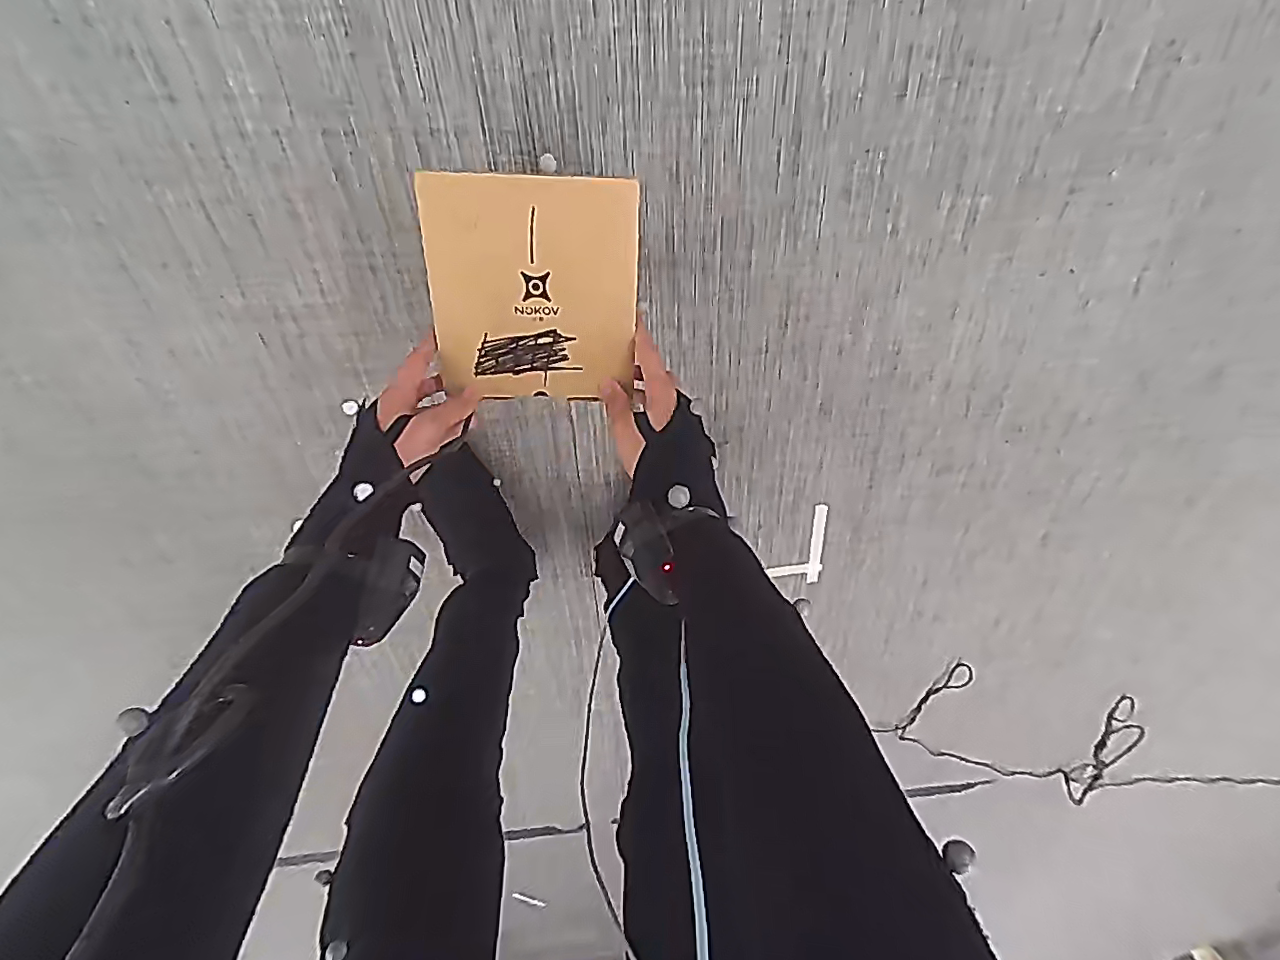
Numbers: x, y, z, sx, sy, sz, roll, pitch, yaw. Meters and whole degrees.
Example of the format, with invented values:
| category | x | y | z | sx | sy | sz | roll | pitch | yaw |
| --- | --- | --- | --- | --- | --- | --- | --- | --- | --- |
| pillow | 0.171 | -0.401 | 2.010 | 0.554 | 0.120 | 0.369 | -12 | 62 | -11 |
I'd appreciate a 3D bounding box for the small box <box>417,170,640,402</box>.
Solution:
| category | x | y | z | sx | sy | sz | roll | pitch | yaw |
| --- | --- | --- | --- | --- | --- | --- | --- | --- | --- |
| small box | -0.089 | -0.184 | 0.505 | 0.168 | 0.176 | 0.179 | 0 | 118 | -5 |
